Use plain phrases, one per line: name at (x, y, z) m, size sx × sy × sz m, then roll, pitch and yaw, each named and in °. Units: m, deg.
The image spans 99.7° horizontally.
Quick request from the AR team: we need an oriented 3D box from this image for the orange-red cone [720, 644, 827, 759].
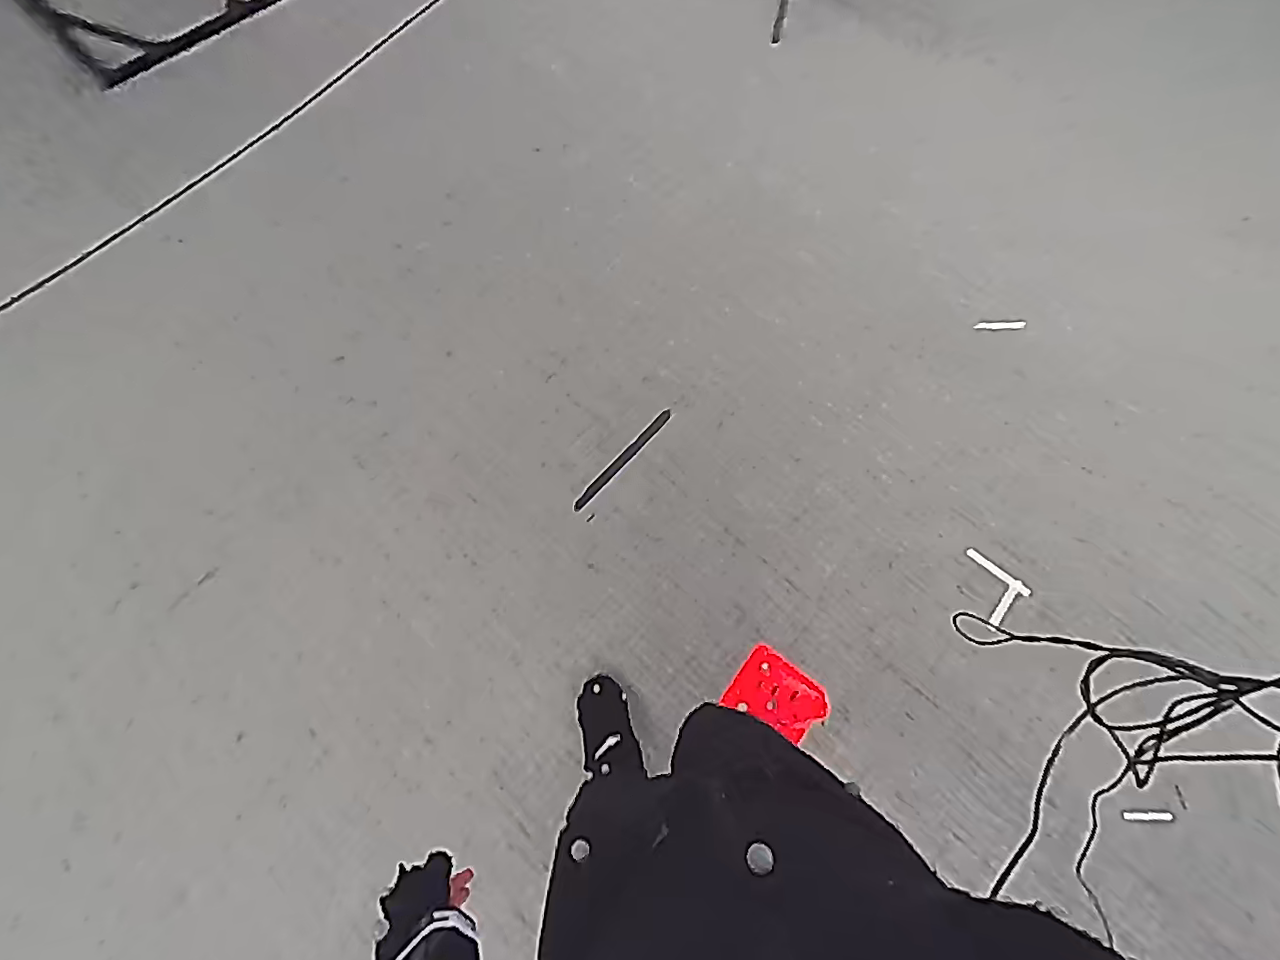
orange-red cone at (0.312, 0.458, 1.109) m, size 0.198 × 0.360 × 0.199 m, roll 36°, pitch 75°, yaw 13°
